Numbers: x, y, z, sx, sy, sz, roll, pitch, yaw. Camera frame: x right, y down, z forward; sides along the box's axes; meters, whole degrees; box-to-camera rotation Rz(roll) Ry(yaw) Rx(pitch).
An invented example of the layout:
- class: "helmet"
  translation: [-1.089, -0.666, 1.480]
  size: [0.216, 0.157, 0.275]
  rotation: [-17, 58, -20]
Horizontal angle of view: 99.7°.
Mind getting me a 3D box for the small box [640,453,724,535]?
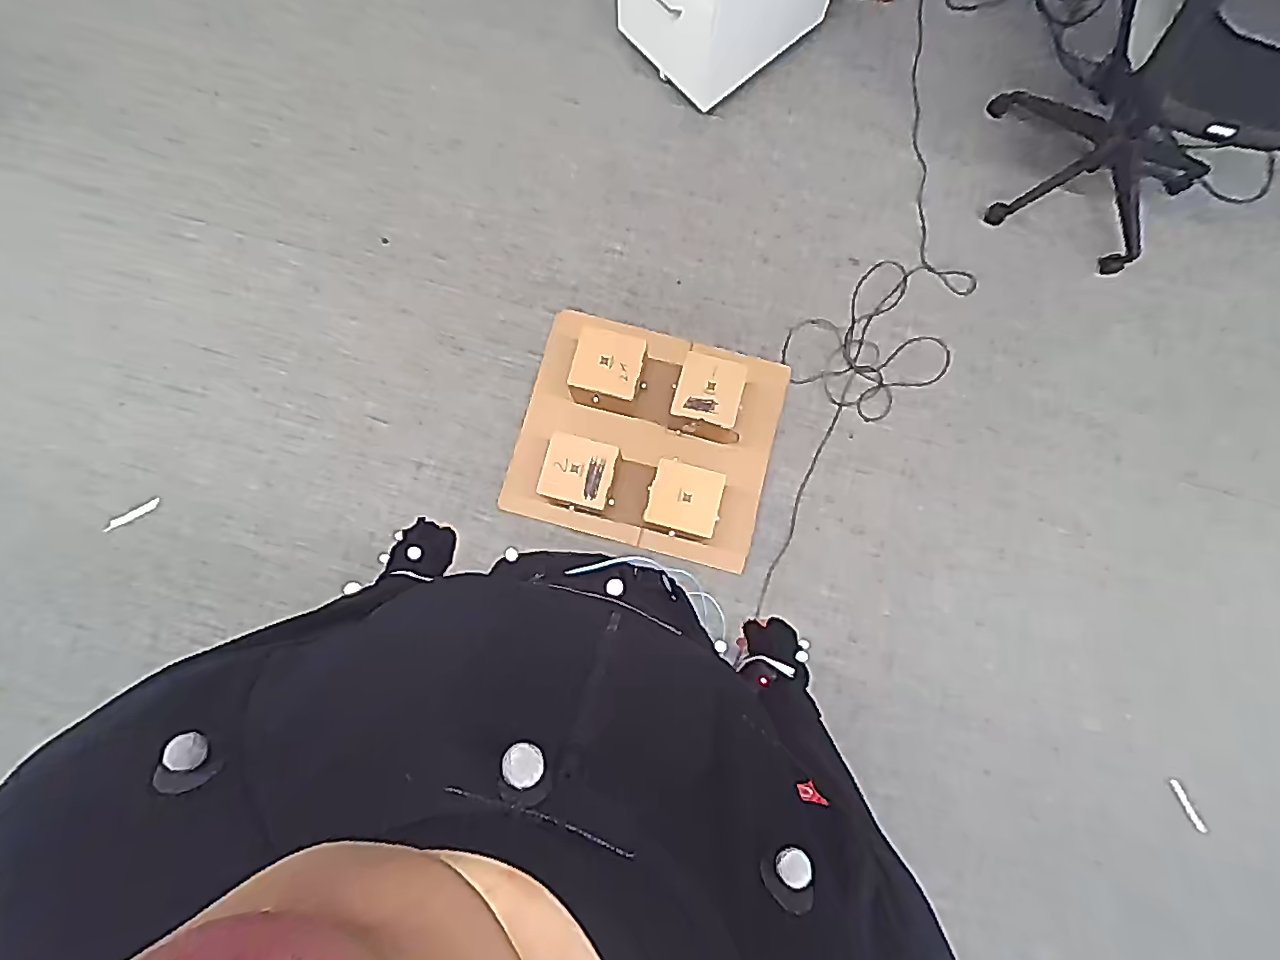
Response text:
- class: "small box"
  translation: [0.106, 0.043, 1.418]
  size: [0.179, 0.176, 0.168]
  rotation: [15, 82, 4]
